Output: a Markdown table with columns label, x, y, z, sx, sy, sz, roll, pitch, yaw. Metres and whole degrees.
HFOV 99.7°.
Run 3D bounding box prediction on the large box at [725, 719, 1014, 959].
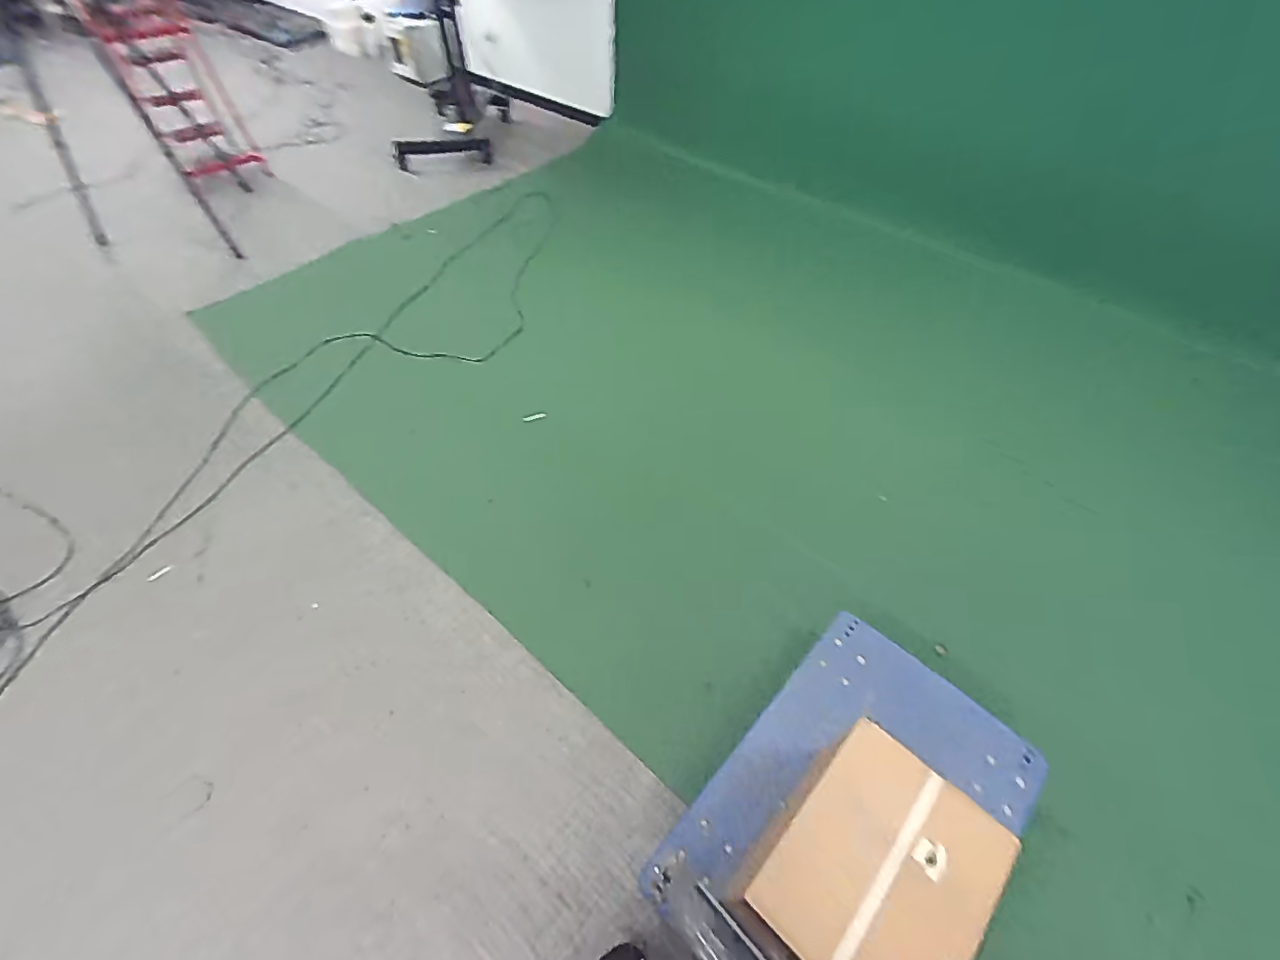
| label | x | y | z | sx | sy | sz | roll | pitch | yaw |
| --- | --- | --- | --- | --- | --- | --- | --- | --- | --- |
| large box | 0.416 | 0.764 | 1.040 | 0.320 | 0.320 | 0.408 | 38 | 59 | 24 |
